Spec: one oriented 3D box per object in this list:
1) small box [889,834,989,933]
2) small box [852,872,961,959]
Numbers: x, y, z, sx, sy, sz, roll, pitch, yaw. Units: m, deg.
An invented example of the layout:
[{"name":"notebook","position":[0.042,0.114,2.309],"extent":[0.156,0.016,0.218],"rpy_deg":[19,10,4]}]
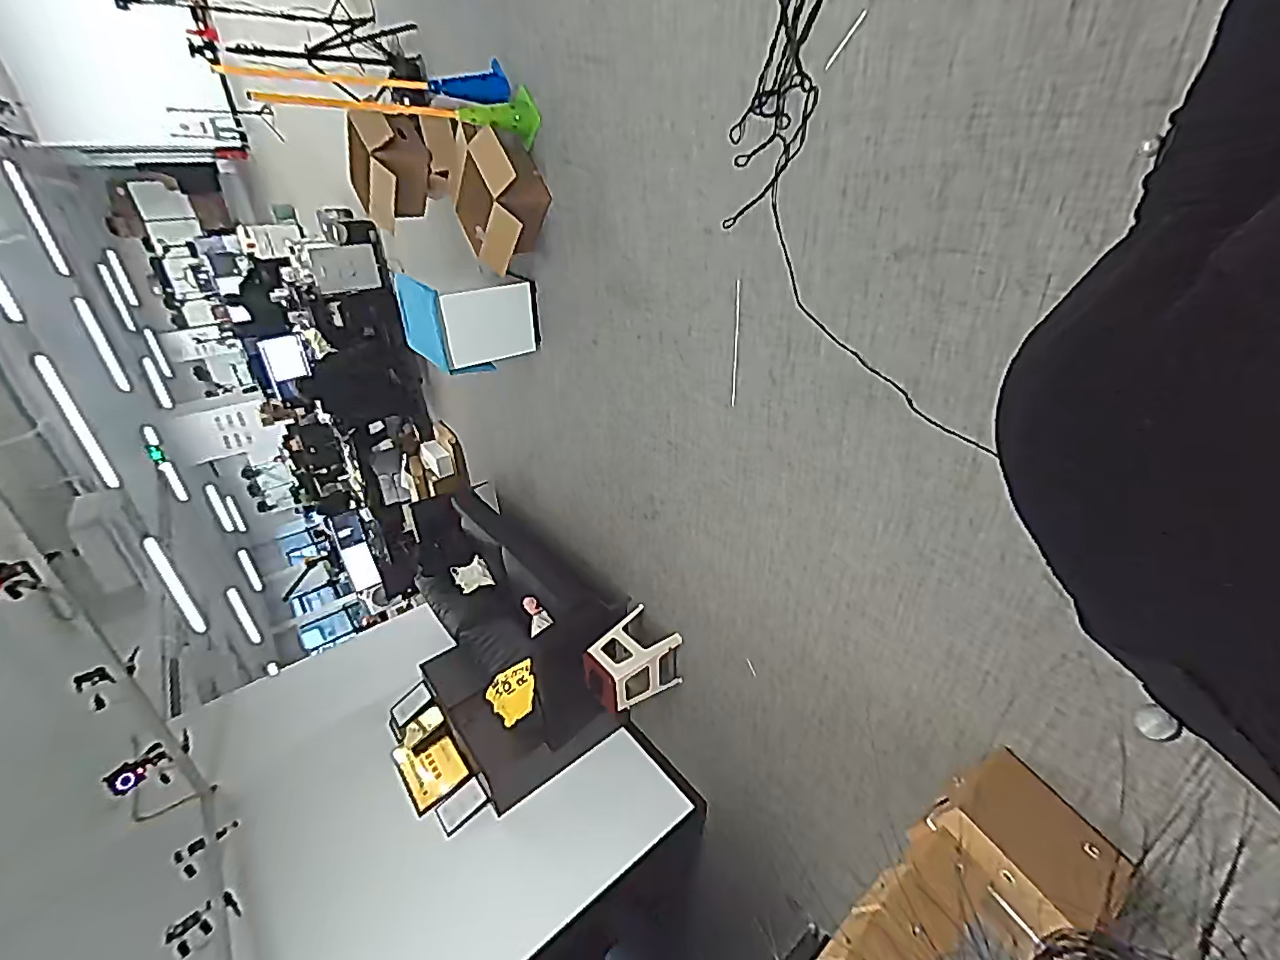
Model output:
[{"name":"small box","position":[0.868,1.177,1.574],"extent":[0.168,0.176,0.179],"rpy_deg":[47,143,29]},{"name":"small box","position":[0.735,1.225,1.494],"extent":[0.179,0.176,0.168],"rpy_deg":[47,144,28]}]
